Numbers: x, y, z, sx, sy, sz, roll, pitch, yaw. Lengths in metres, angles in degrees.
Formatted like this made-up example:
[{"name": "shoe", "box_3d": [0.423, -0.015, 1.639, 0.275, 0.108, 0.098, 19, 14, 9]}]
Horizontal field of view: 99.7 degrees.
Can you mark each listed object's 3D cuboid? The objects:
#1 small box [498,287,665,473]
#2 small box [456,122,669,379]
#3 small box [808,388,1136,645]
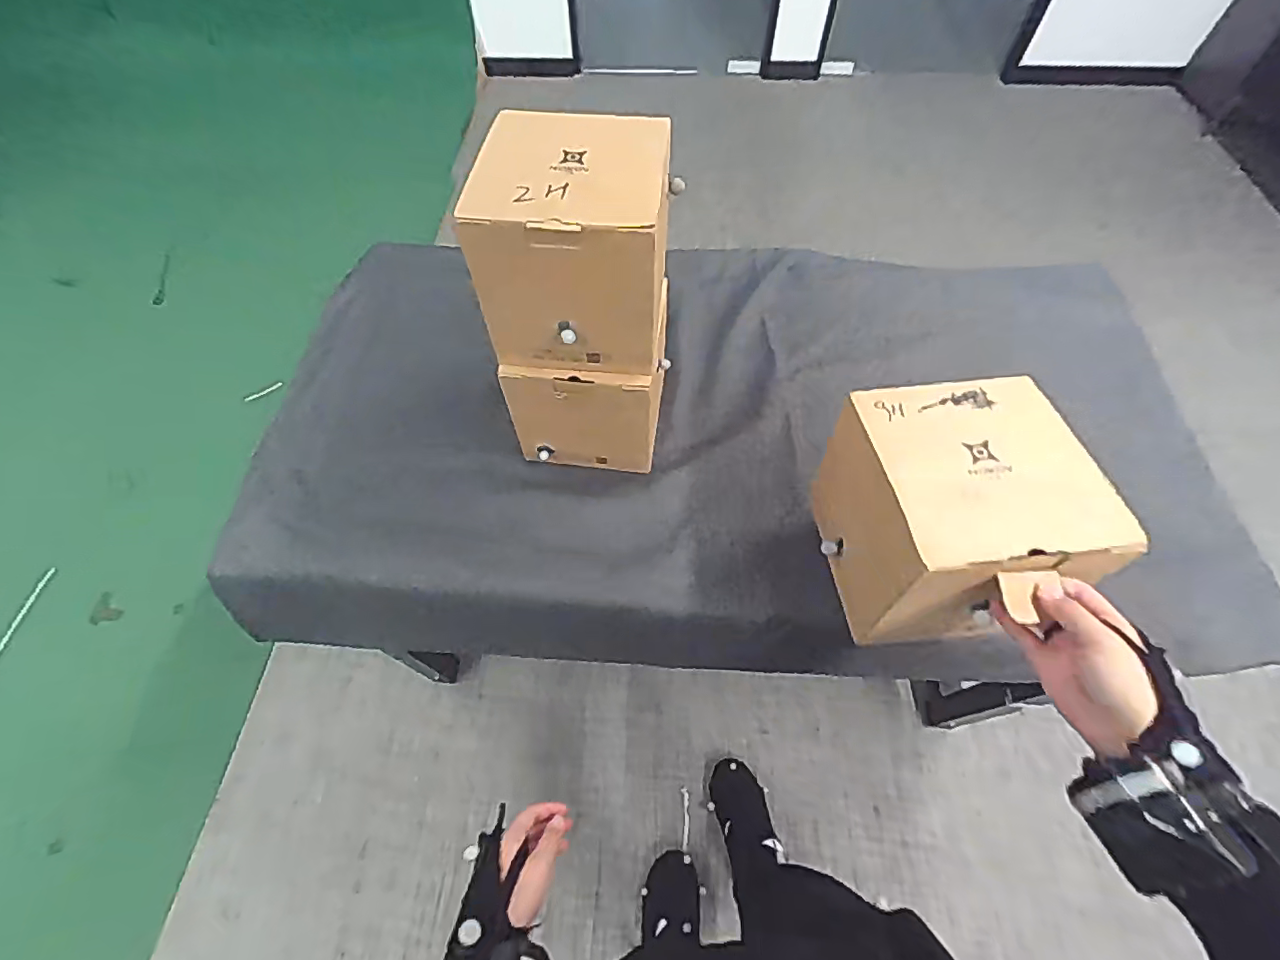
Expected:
[{"name": "small box", "box_3d": [-0.060, -0.126, 0.679, 0.168, 0.176, 0.179, 6, 58, 4]}, {"name": "small box", "box_3d": [-0.062, -0.227, 0.547, 0.168, 0.176, 0.179, 4, 58, 4]}, {"name": "small box", "box_3d": [0.270, 0.042, 0.496, 0.168, 0.176, 0.179, -5, 54, -2]}]
